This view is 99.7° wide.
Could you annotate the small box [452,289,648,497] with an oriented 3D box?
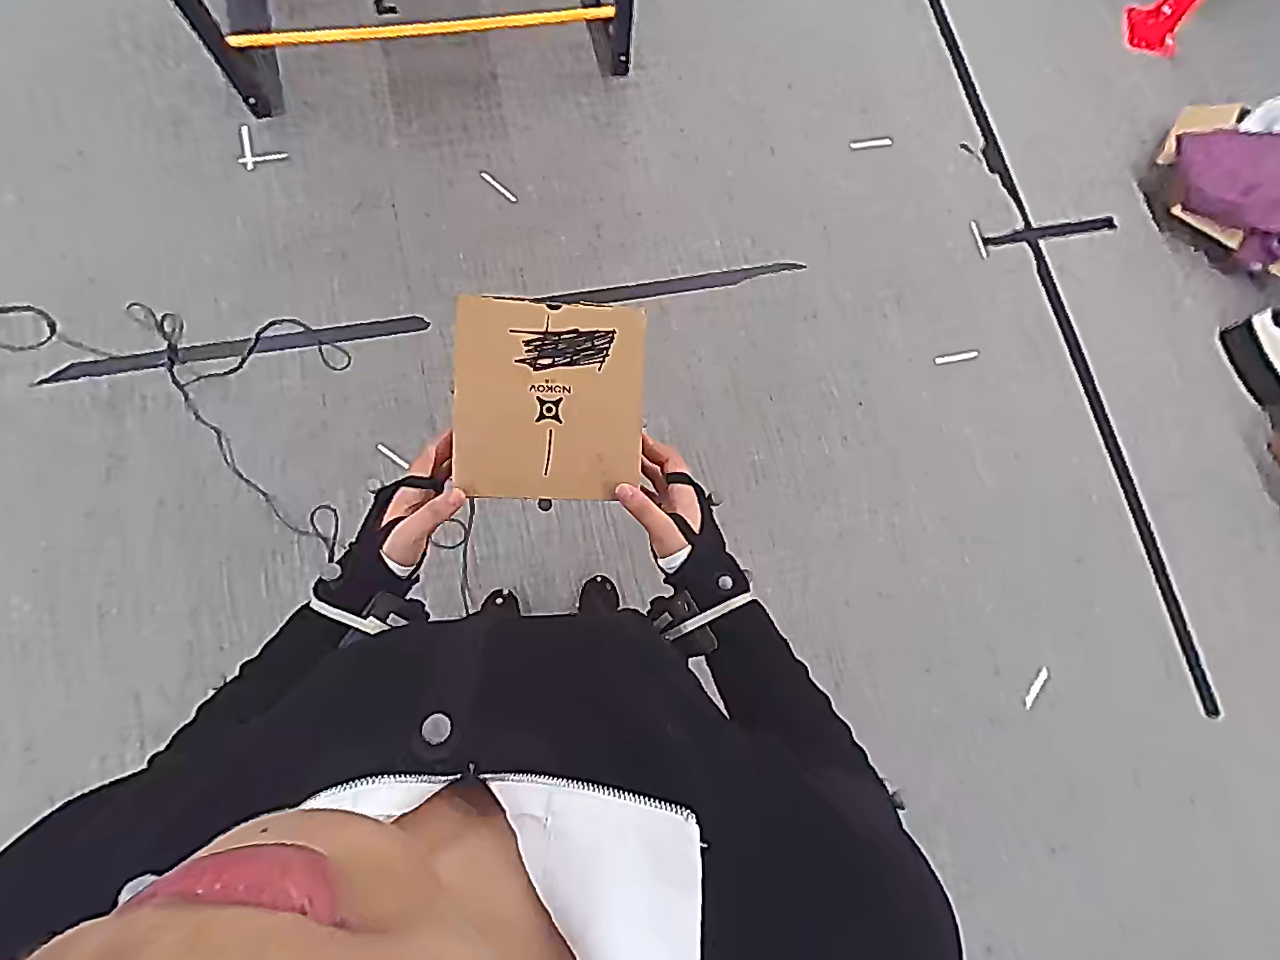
[{"bbox_3d":[-0.087,-0.074,0.548,0.168,0.176,0.179,1,90,-7],"label":"small box"}]
